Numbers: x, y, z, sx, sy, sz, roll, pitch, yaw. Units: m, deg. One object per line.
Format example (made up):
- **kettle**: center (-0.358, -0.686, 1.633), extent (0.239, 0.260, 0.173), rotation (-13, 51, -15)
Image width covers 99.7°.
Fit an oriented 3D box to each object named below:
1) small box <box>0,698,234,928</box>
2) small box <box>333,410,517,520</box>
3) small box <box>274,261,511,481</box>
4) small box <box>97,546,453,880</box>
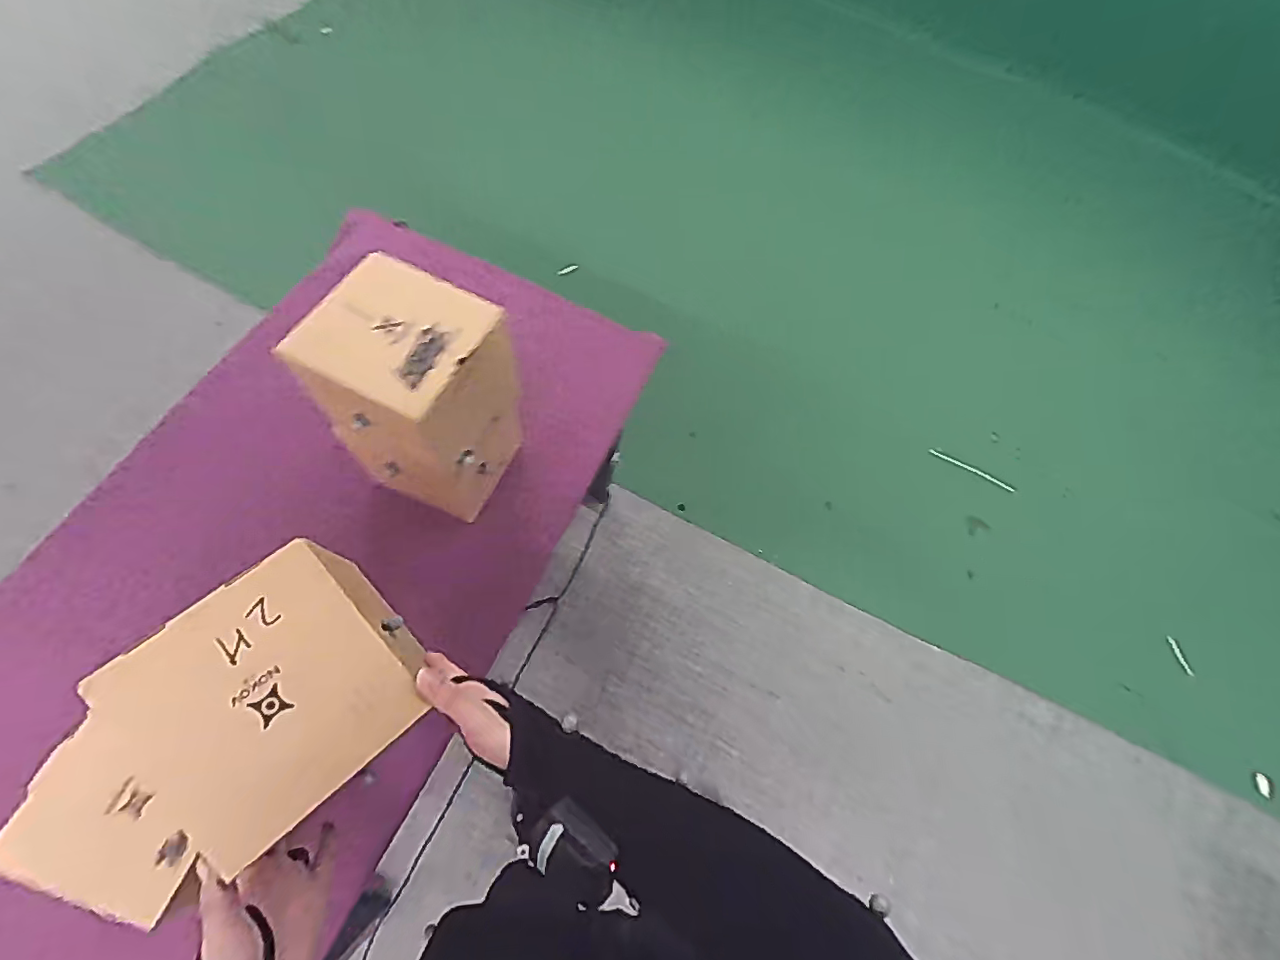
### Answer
- **small box**: center (-0.507, 0.346, 0.601), extent (0.179, 0.176, 0.168), rotation (20, 65, 2)
- **small box**: center (-0.301, -0.058, 0.806), extent (0.179, 0.176, 0.168), rotation (23, 66, 5)
- **small box**: center (-0.276, -0.120, 0.655), extent (0.179, 0.176, 0.168), rotation (26, 66, 6)
- **small box**: center (-0.287, 0.184, 0.476), extent (0.168, 0.176, 0.179), rotation (-38, 85, -21)
